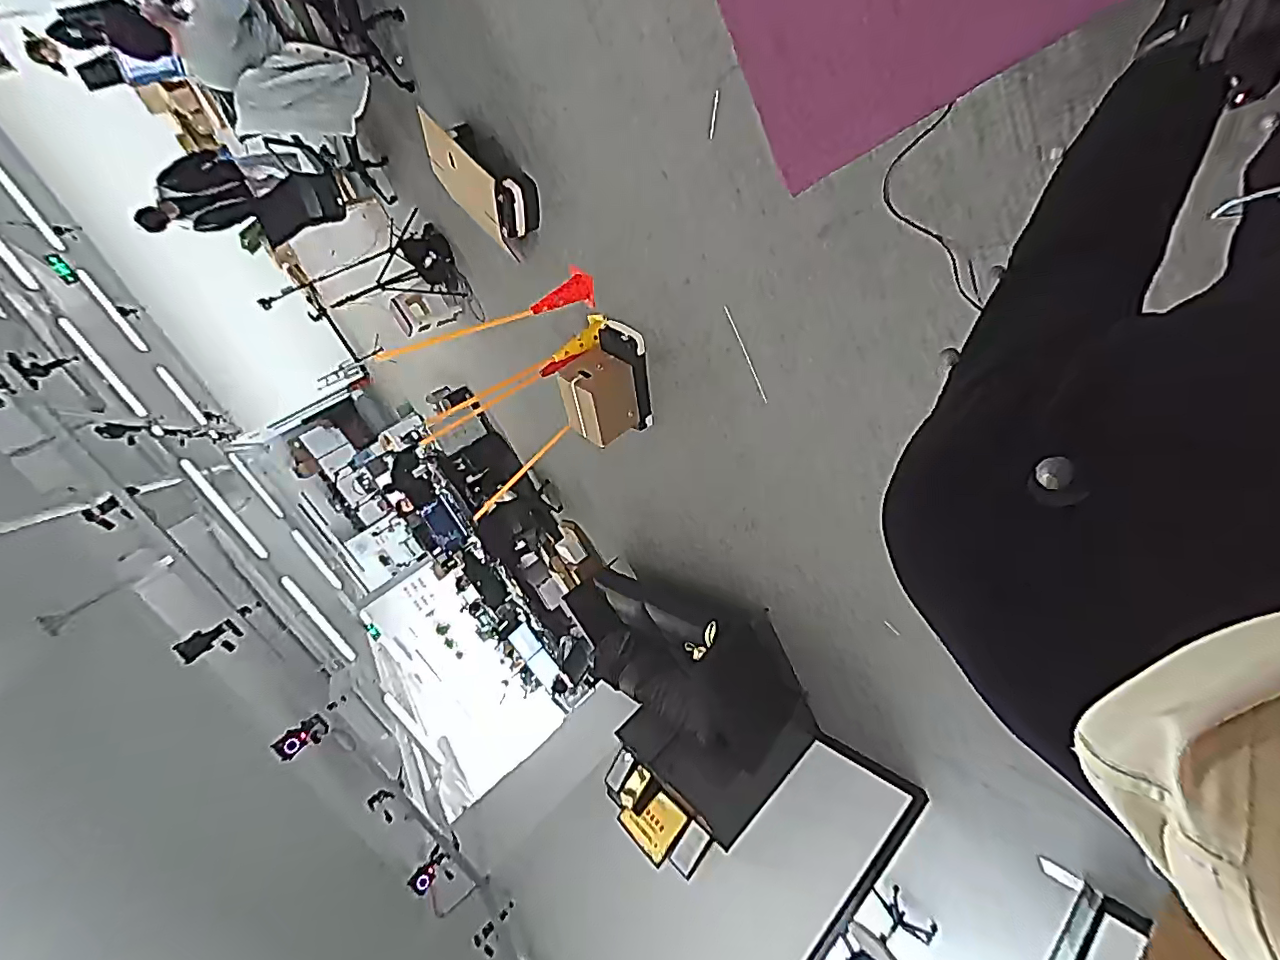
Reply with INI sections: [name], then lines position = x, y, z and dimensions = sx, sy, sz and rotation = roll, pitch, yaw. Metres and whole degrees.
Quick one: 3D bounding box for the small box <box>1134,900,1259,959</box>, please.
[small box]
position = 1.249, 1.106, 1.211
dimensions = 0.168, 0.176, 0.179
rotation = 10, 133, 58
